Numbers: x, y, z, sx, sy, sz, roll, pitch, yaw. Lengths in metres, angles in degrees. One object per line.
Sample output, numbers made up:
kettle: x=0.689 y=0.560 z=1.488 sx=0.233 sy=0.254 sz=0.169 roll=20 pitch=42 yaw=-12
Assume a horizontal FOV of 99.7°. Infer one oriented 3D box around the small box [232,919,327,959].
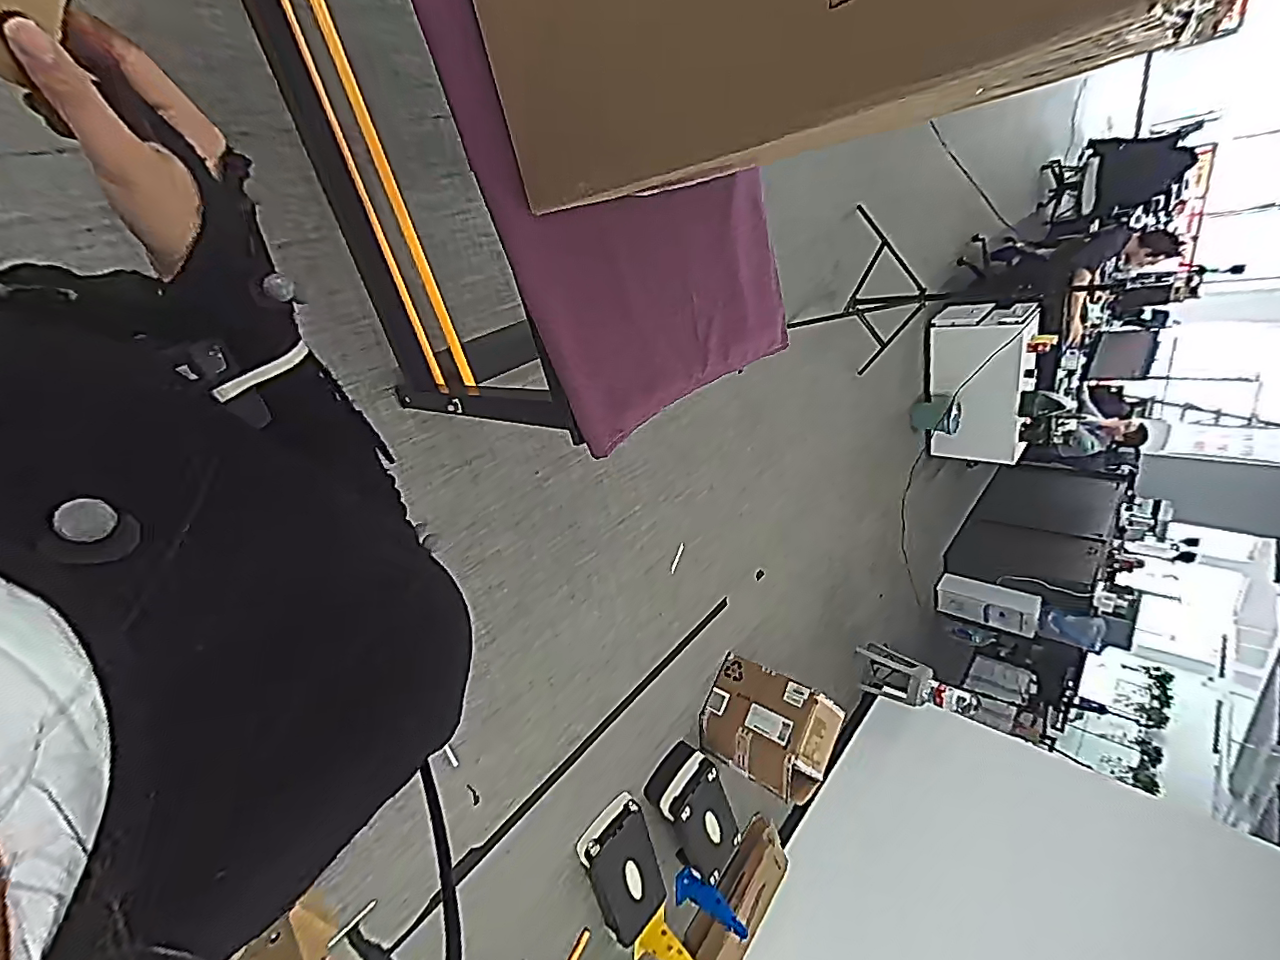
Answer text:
small box: x=-0.779 y=1.090 z=1.147 sx=0.168 sy=0.176 sz=0.179 roll=-39 pitch=126 yaw=-33
